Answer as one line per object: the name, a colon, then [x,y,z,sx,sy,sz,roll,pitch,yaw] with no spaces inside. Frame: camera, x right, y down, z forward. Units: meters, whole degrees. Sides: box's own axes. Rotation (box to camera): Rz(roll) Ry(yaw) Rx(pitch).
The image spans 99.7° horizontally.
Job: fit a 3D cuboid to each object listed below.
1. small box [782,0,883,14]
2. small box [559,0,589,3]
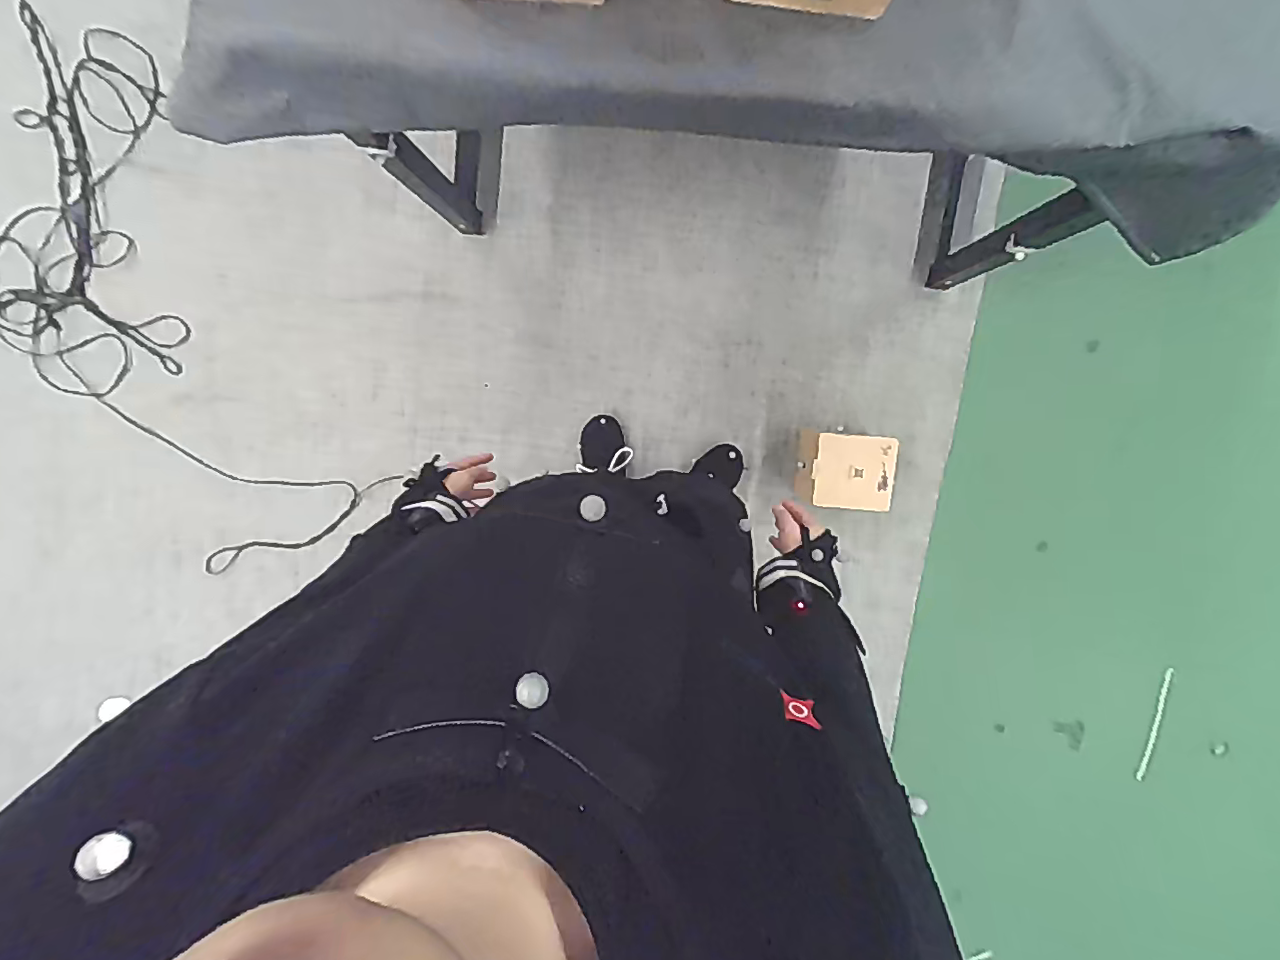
small box: [0.177,-0.566,0.467,0.168,0.176,0.179,8,98,1]
small box: [-0.116,-0.580,0.475,0.168,0.176,0.179,5,99,2]
